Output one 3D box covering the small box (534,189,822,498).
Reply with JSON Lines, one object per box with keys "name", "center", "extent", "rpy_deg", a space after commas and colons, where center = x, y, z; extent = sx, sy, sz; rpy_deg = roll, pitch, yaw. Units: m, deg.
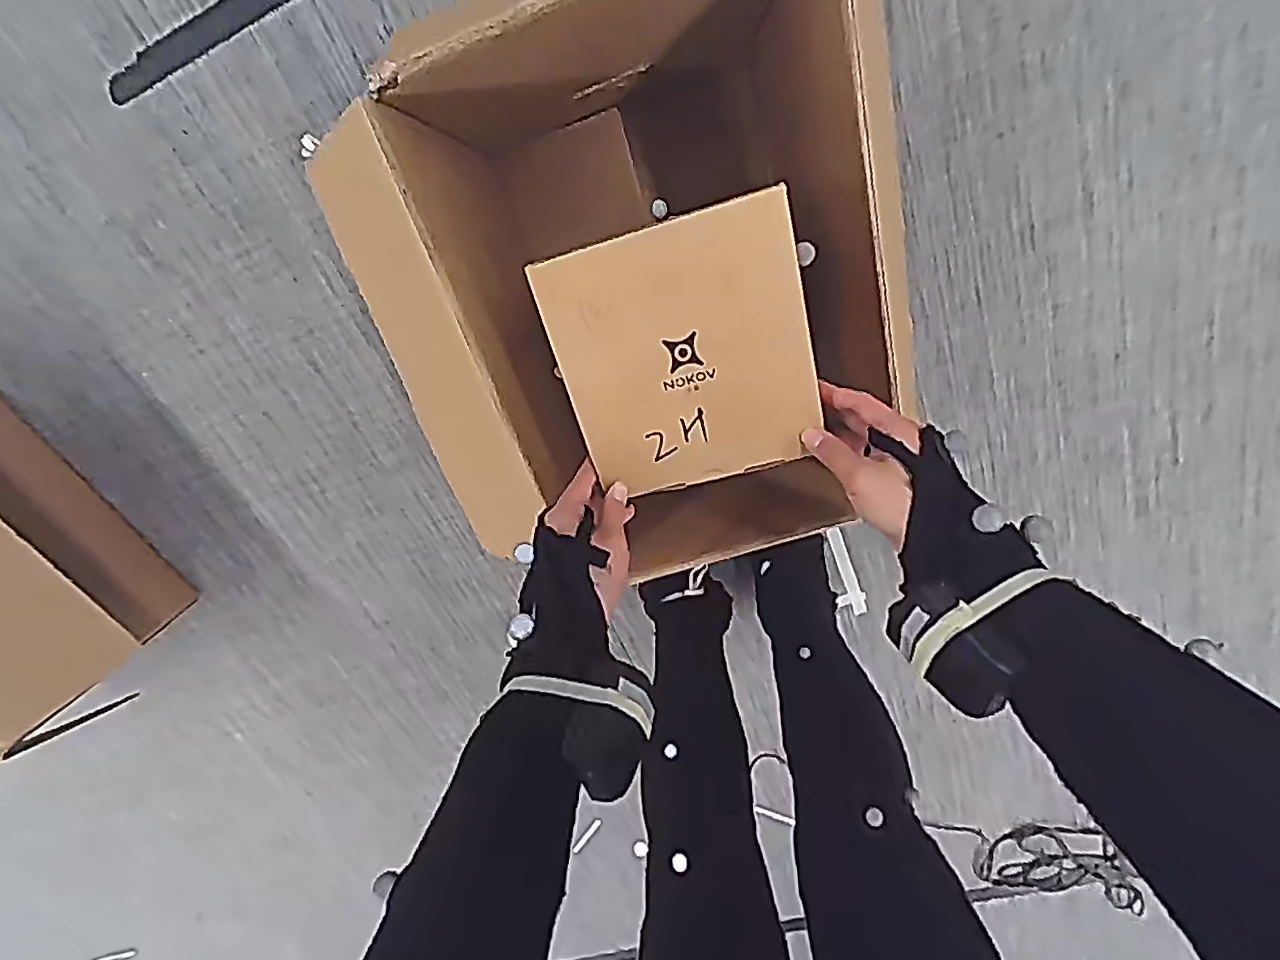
{"name": "small box", "center": [0.035, -0.112, 0.439], "extent": [0.168, 0.176, 0.179], "rpy_deg": [-13, 113, 10]}
